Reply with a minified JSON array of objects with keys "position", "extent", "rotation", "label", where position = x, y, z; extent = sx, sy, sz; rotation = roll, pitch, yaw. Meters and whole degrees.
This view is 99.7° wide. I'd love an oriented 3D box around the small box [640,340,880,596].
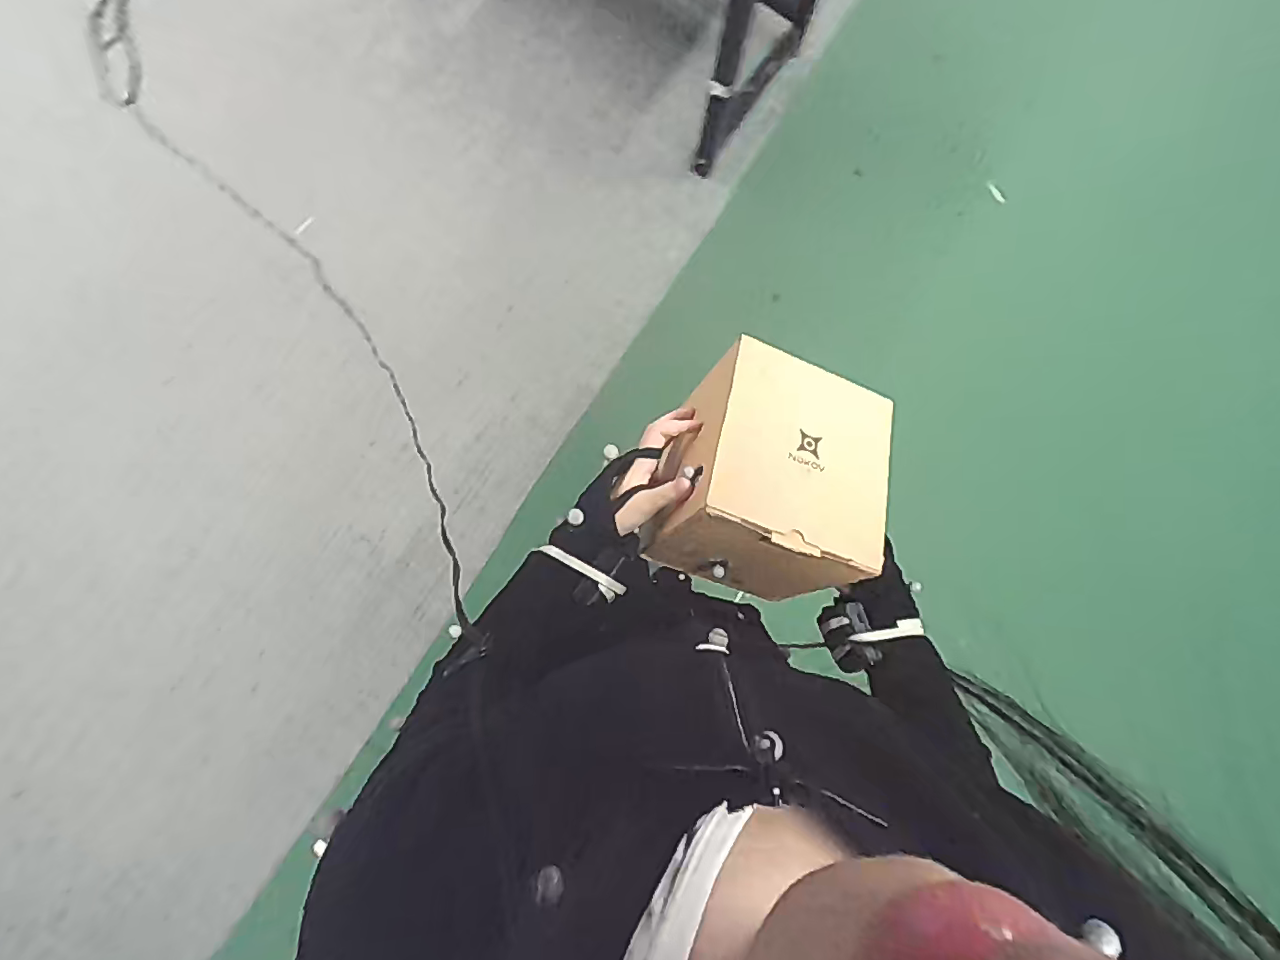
[{"position":[0.112,0.001,0.539],"extent":[0.168,0.176,0.179],"rotation":[19,65,-12],"label":"small box"}]
